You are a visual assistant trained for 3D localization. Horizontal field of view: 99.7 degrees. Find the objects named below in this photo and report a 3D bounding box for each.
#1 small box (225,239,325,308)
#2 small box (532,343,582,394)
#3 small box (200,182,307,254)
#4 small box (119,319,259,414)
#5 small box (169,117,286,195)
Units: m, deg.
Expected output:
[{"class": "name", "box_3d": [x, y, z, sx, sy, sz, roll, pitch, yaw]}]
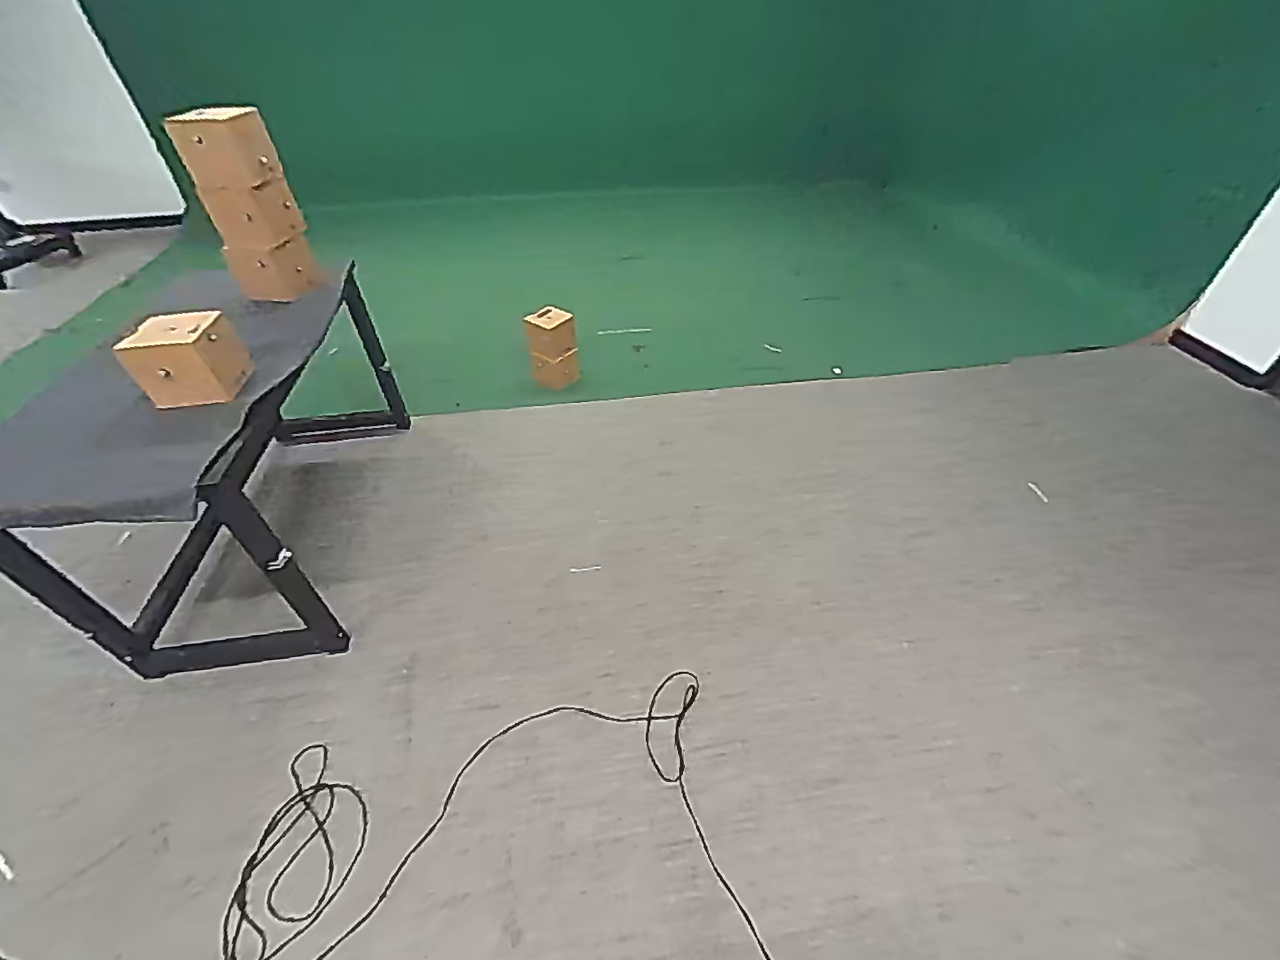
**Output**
[{"class": "small box", "box_3d": [-1.180, -0.677, 1.766, 0.179, 0.176, 0.168, 6, 44, 12]}, {"class": "small box", "box_3d": [-0.407, -0.549, 2.677, 0.179, 0.176, 0.168, 27, 51, 28]}, {"class": "small box", "box_3d": [-1.179, -0.809, 1.670, 0.179, 0.176, 0.168, 2, 42, 8]}, {"class": "small box", "box_3d": [-1.108, -0.280, 1.346, 0.179, 0.176, 0.168, -7, 43, -4]}, {"class": "small box", "box_3d": [-1.181, -0.934, 1.564, 0.179, 0.176, 0.168, -1, 43, 3]}]
